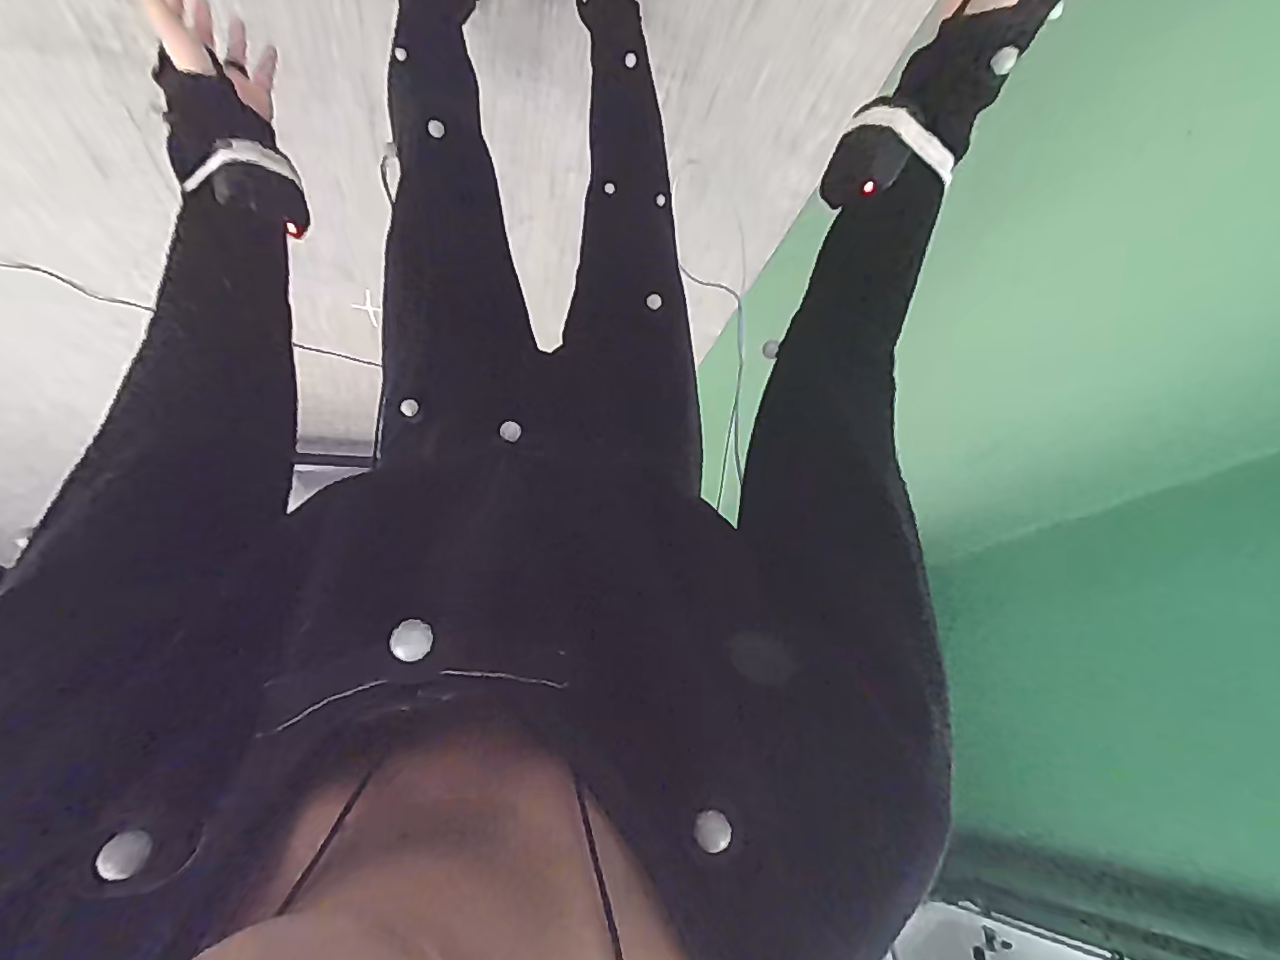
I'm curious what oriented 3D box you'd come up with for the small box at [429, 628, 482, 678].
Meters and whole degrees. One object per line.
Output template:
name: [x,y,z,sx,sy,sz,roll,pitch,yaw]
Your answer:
small box: [-0.714,0.675,2.107,0.179,0.176,0.168,3,156,-14]
